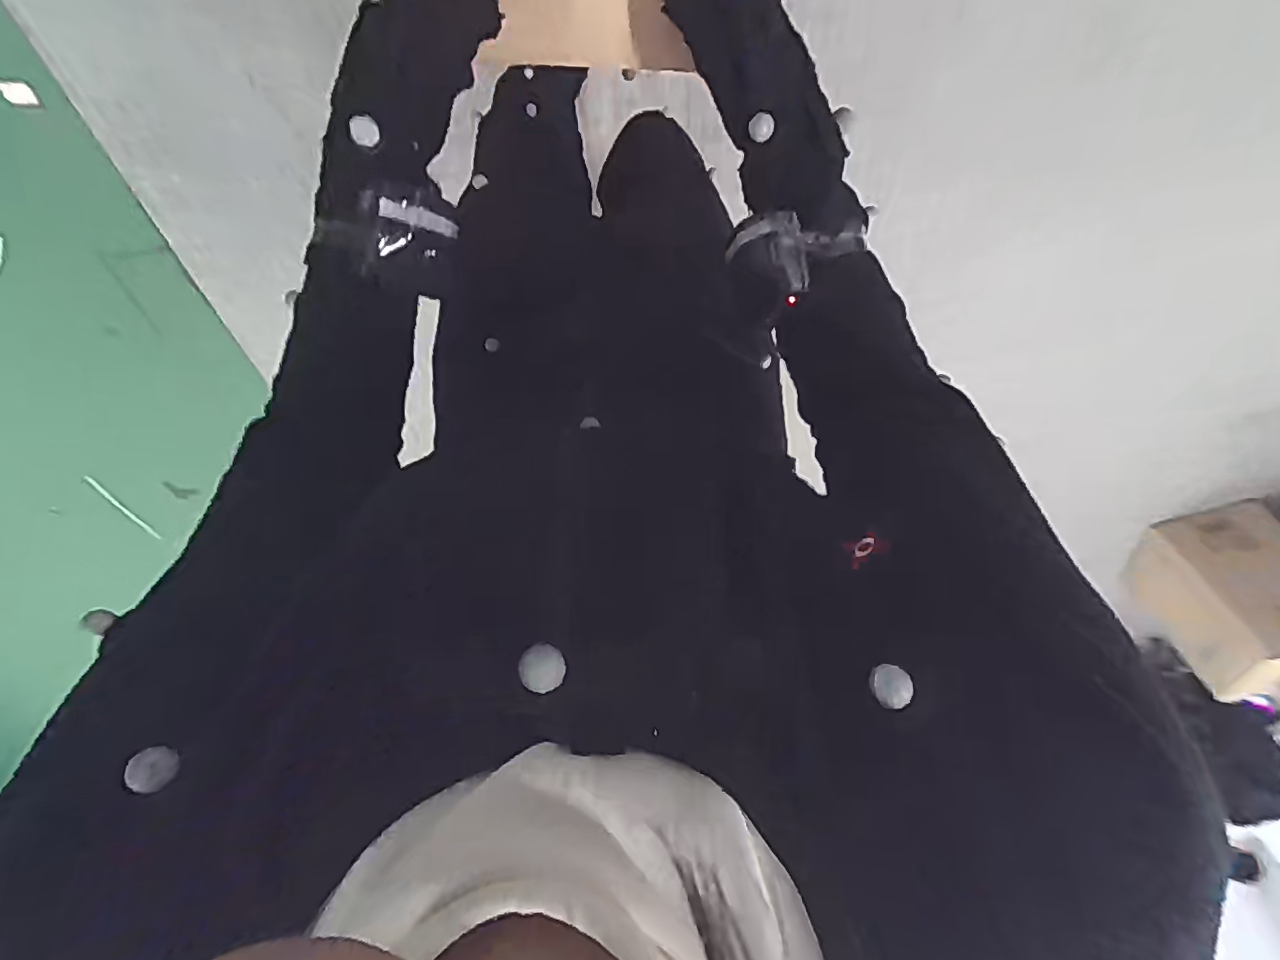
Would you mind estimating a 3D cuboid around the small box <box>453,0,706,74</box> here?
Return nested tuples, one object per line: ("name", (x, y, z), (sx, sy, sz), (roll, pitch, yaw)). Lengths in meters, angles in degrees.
("small box", (-0.048, -0.414, 0.395), (0.179, 0.176, 0.168), (-3, 133, -7))
